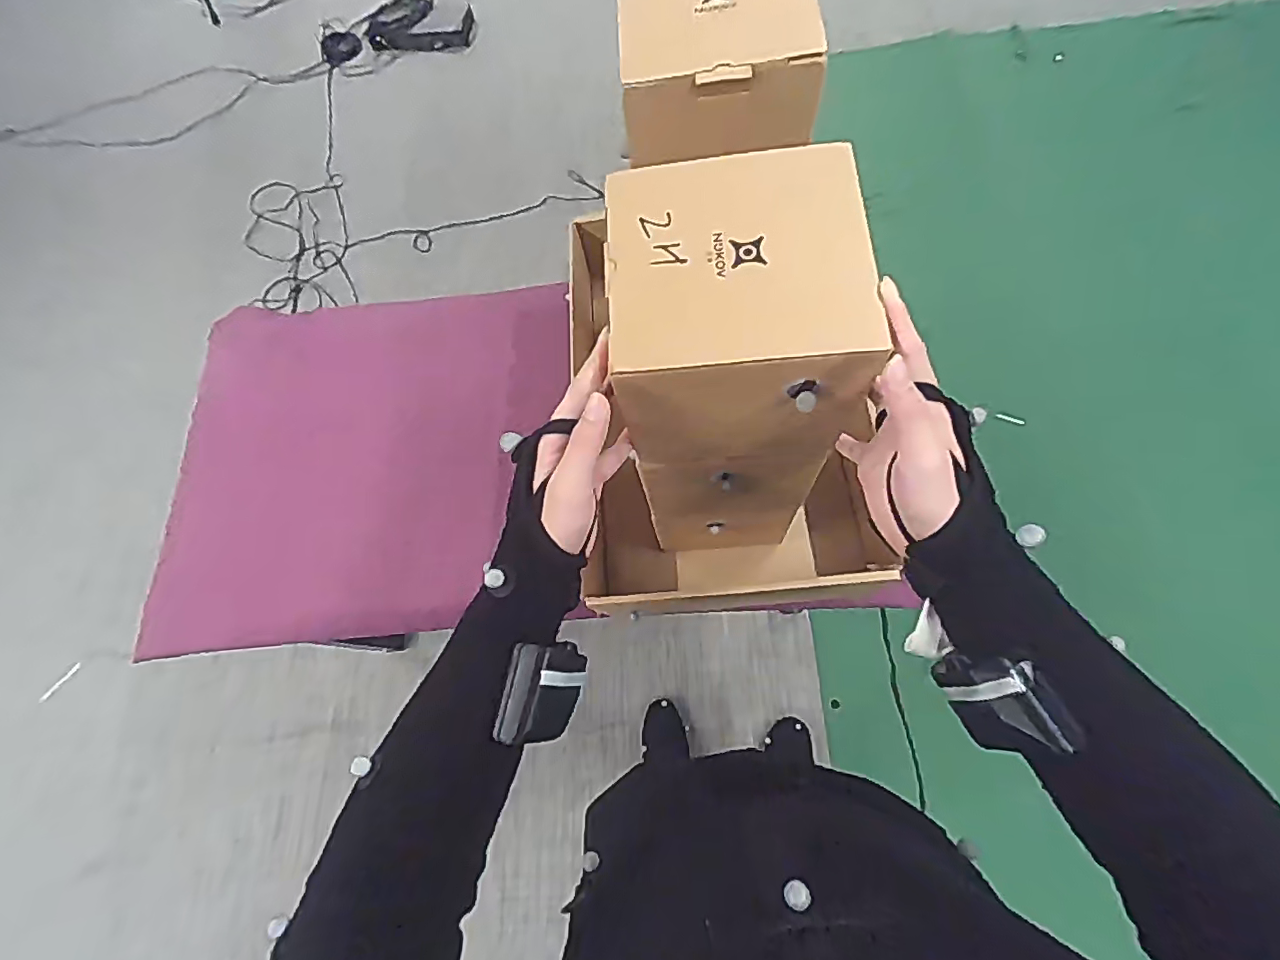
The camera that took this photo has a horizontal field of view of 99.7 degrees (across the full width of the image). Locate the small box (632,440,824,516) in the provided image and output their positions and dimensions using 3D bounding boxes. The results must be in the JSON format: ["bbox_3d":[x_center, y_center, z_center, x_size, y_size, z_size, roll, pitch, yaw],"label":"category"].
[{"bbox_3d":[0.088,-0.061,0.590,0.179,0.176,0.168,-3,70,5],"label":"small box"}]

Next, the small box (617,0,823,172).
[{"bbox_3d":[0.070,-0.370,0.532,0.168,0.176,0.179,-4,71,4],"label":"small box"}]

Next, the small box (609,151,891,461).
[{"bbox_3d":[0.073,-0.121,0.433,0.179,0.176,0.168,-4,71,6],"label":"small box"}]
